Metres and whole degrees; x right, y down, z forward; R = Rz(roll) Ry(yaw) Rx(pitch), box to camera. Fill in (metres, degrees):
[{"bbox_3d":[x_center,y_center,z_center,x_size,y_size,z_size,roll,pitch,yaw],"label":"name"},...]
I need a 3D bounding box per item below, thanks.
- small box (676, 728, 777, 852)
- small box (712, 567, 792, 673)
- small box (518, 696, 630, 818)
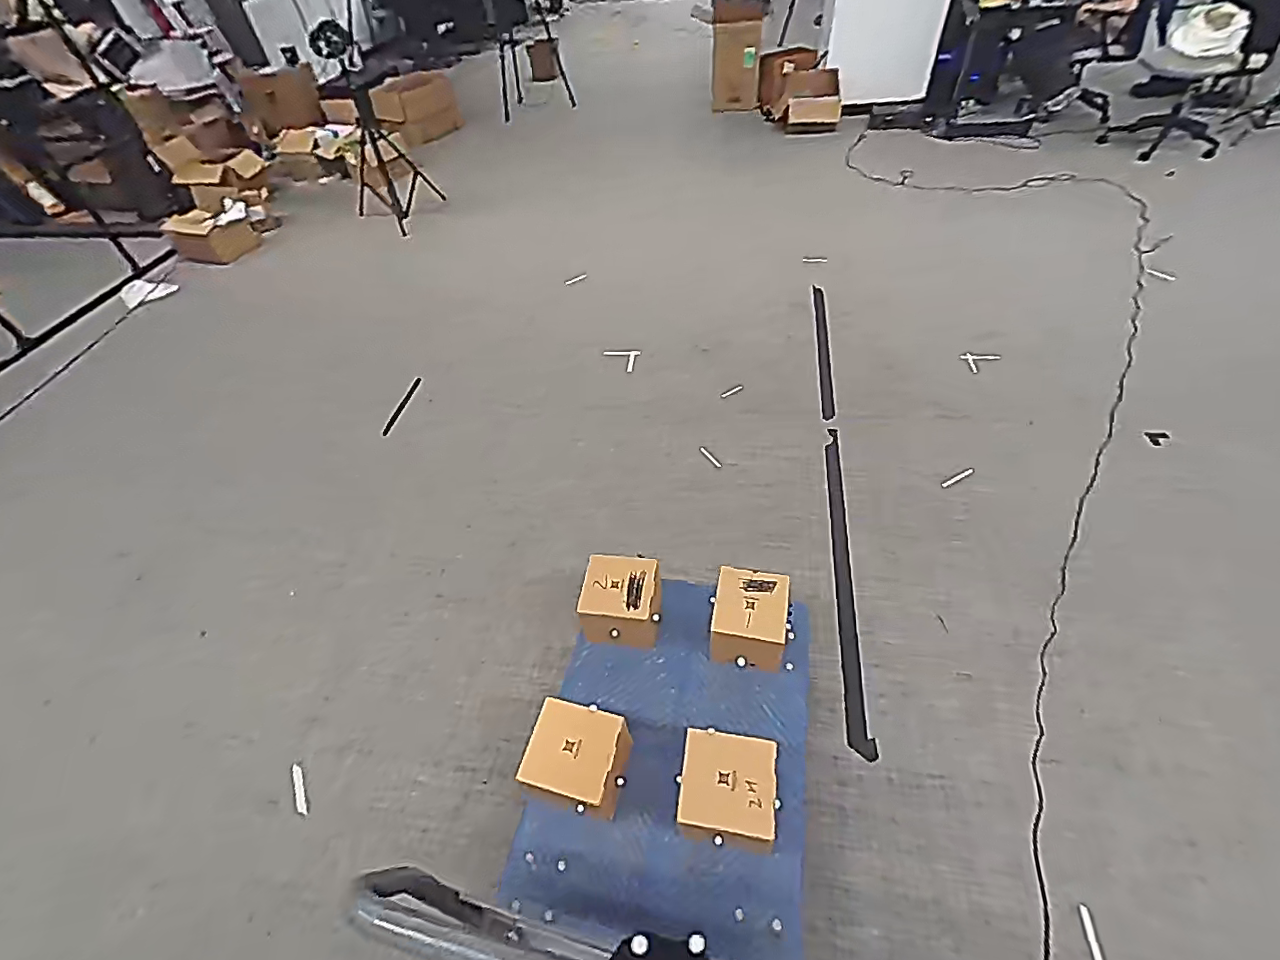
[{"bbox_3d":[0.173,0.615,1.068,0.179,0.176,0.168,5,49,11],"label":"small box"},{"bbox_3d":[0.267,0.338,1.306,0.168,0.176,0.179,7,51,13],"label":"small box"},{"bbox_3d":[-0.128,0.584,1.133,0.179,0.176,0.168,10,50,13],"label":"small box"}]
